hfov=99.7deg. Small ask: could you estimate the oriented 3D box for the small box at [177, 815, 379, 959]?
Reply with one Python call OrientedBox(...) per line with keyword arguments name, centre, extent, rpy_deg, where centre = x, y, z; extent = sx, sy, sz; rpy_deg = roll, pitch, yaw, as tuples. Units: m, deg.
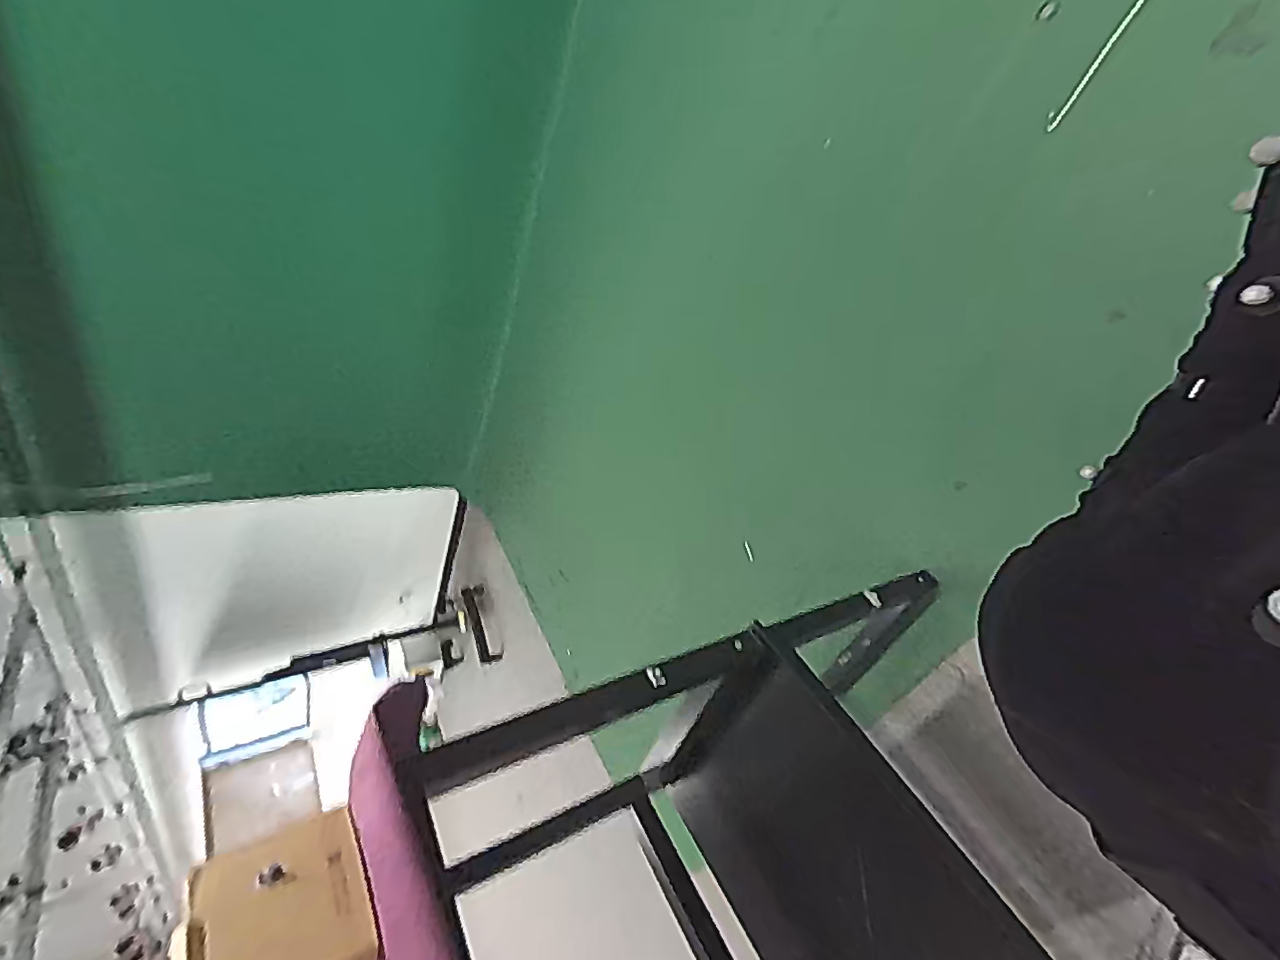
OrientedBox(name="small box", centre=(-0.408, 0.532, 0.622), extent=(0.168, 0.176, 0.179), rpy_deg=(49, 133, 37))
